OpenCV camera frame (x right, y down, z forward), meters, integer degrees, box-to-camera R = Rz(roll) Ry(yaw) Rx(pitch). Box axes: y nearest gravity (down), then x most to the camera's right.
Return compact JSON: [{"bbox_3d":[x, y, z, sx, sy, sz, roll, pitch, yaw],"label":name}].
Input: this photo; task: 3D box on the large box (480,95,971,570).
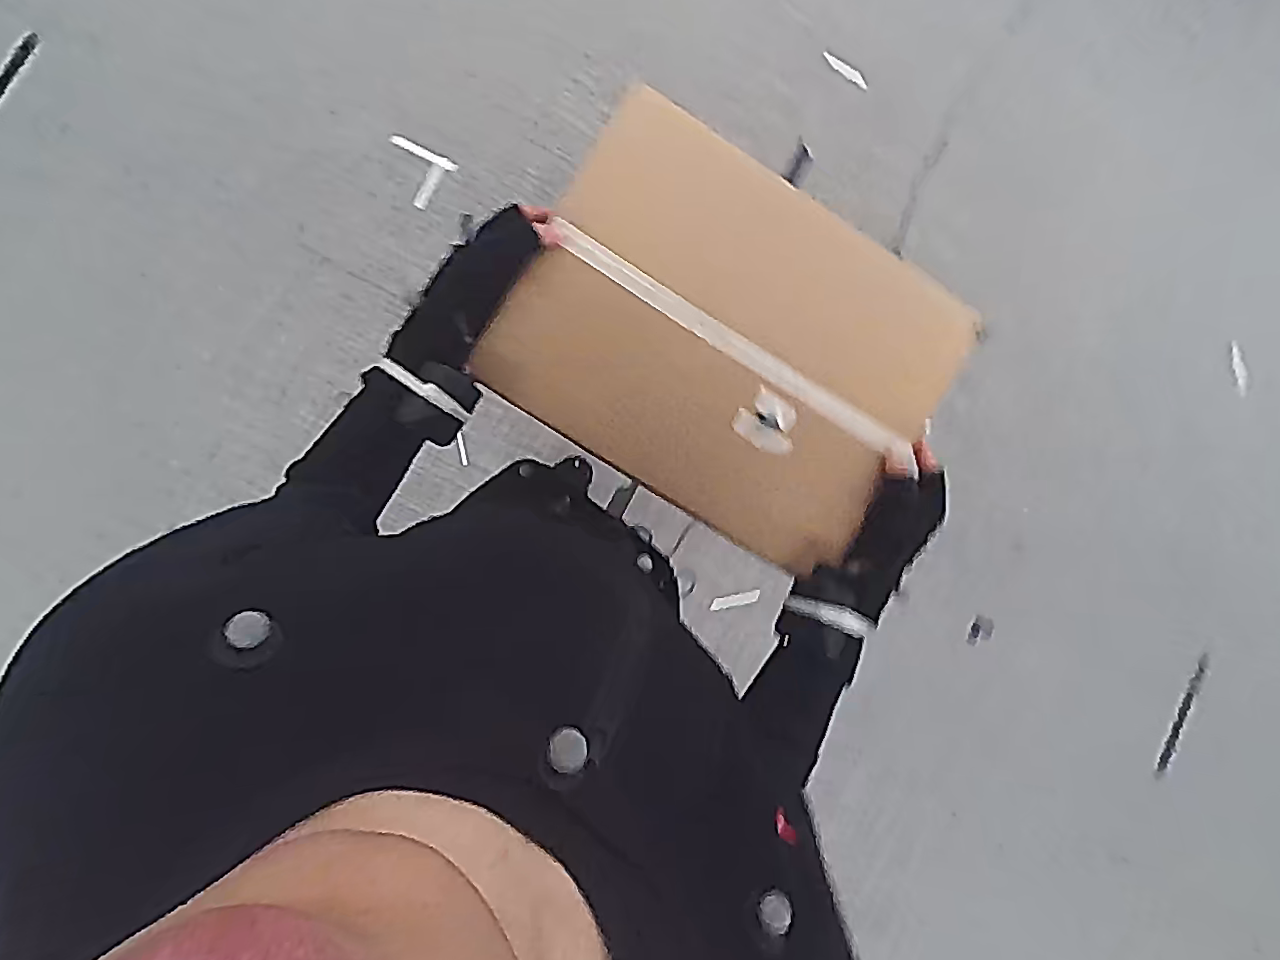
[{"bbox_3d":[0.078,-0.144,0.675,0.408,0.320,0.320,32,90,-6],"label":"large box"}]
